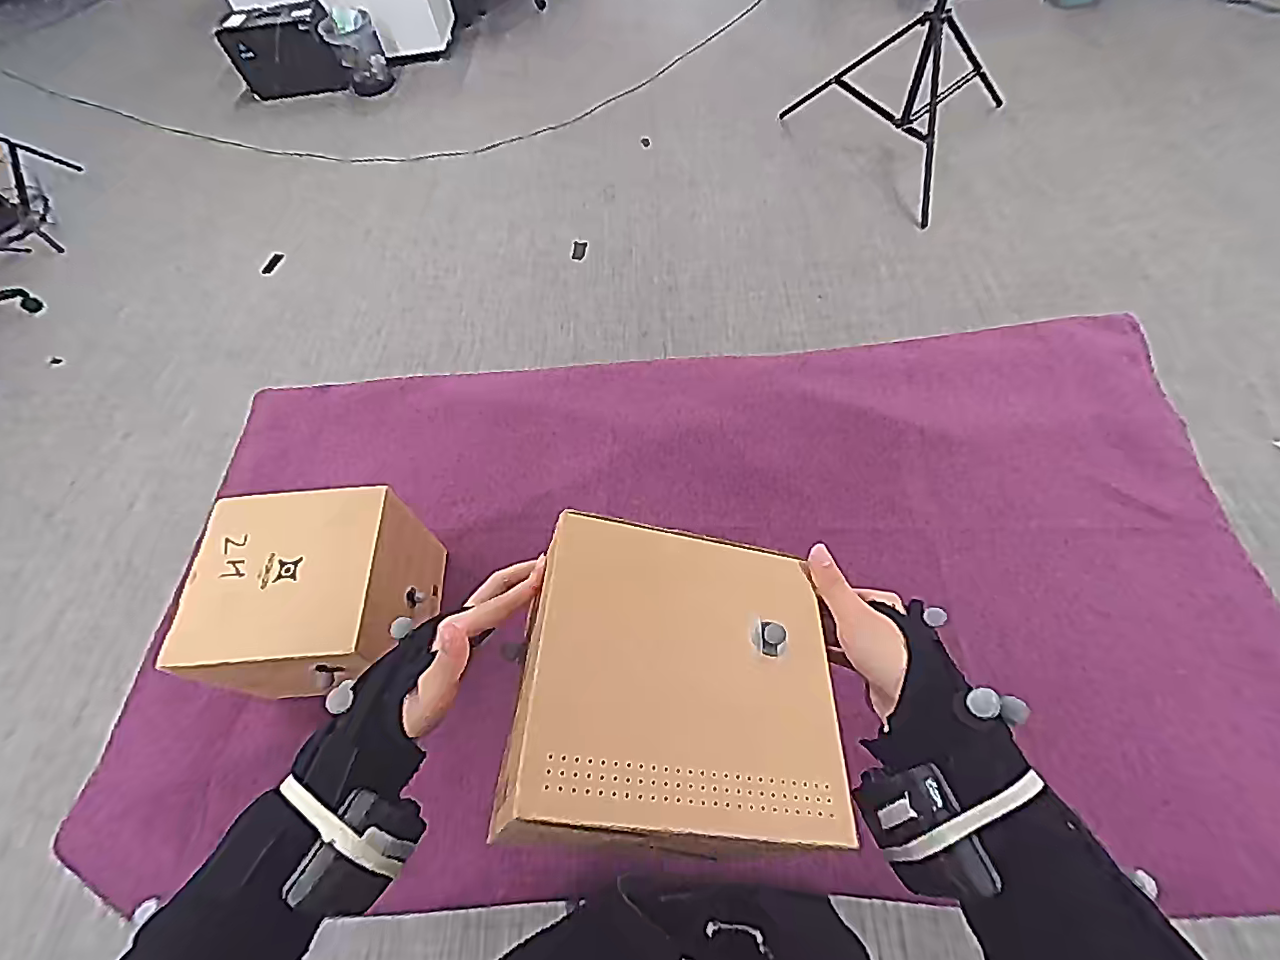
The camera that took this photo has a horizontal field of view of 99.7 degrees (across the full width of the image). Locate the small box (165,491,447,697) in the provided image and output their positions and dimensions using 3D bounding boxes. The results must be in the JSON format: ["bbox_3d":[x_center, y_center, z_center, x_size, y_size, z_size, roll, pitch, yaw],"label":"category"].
[{"bbox_3d":[-0.322,0.126,0.571,0.179,0.176,0.168,-4,59,1],"label":"small box"}]
